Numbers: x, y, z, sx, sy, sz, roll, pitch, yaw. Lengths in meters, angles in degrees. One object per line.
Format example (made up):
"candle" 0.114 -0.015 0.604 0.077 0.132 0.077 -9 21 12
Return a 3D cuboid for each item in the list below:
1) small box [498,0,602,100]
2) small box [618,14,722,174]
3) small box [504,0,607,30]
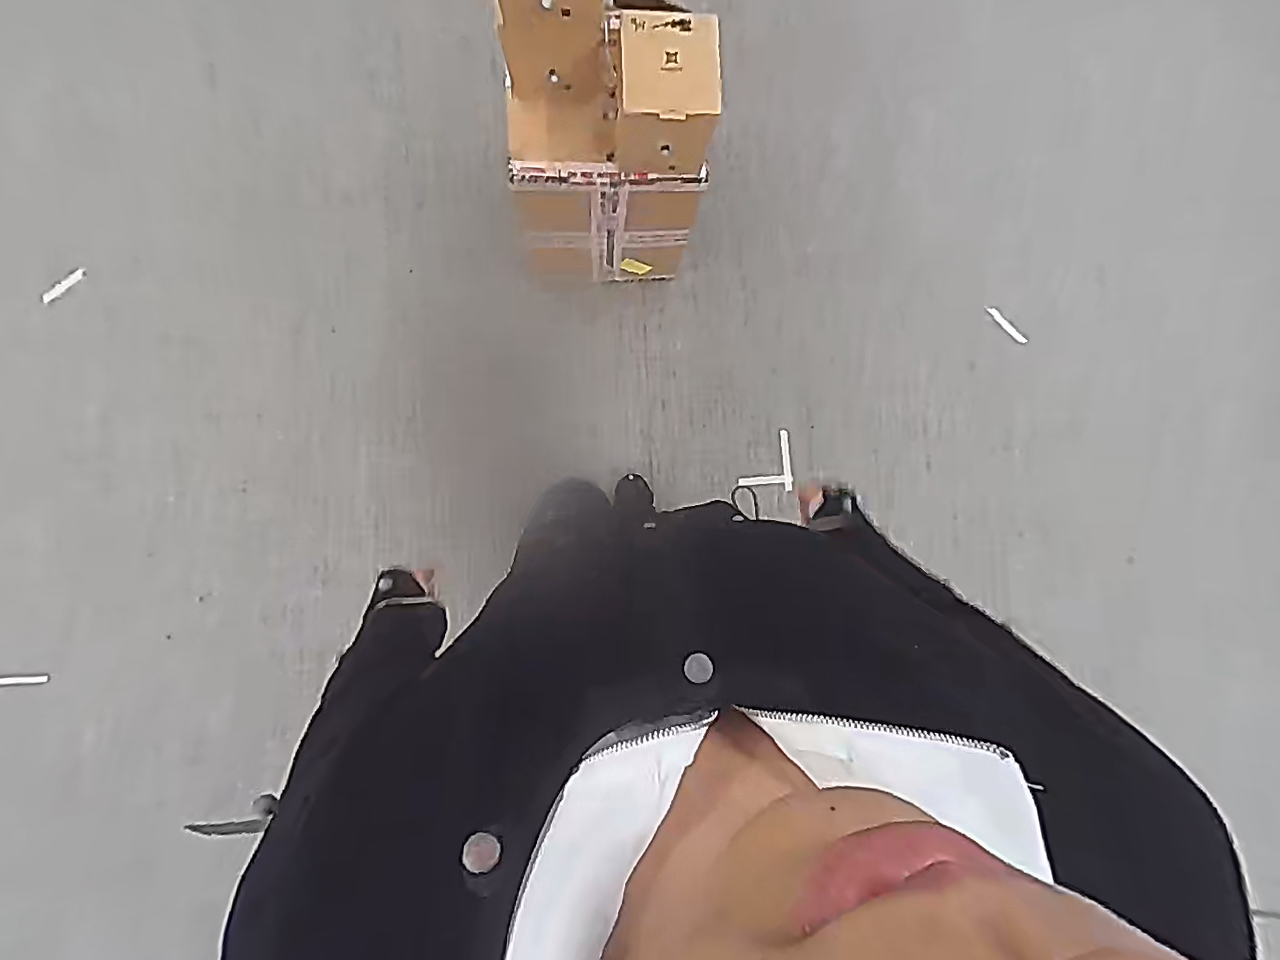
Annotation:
"small box" -0.157 -0.822 0.961 0.168 0.176 0.179 -5 90 -2
"small box" 0.047 -0.678 0.971 0.168 0.176 0.179 -2 90 -6
"small box" -0.133 -0.821 0.797 0.168 0.176 0.179 -2 90 -2
